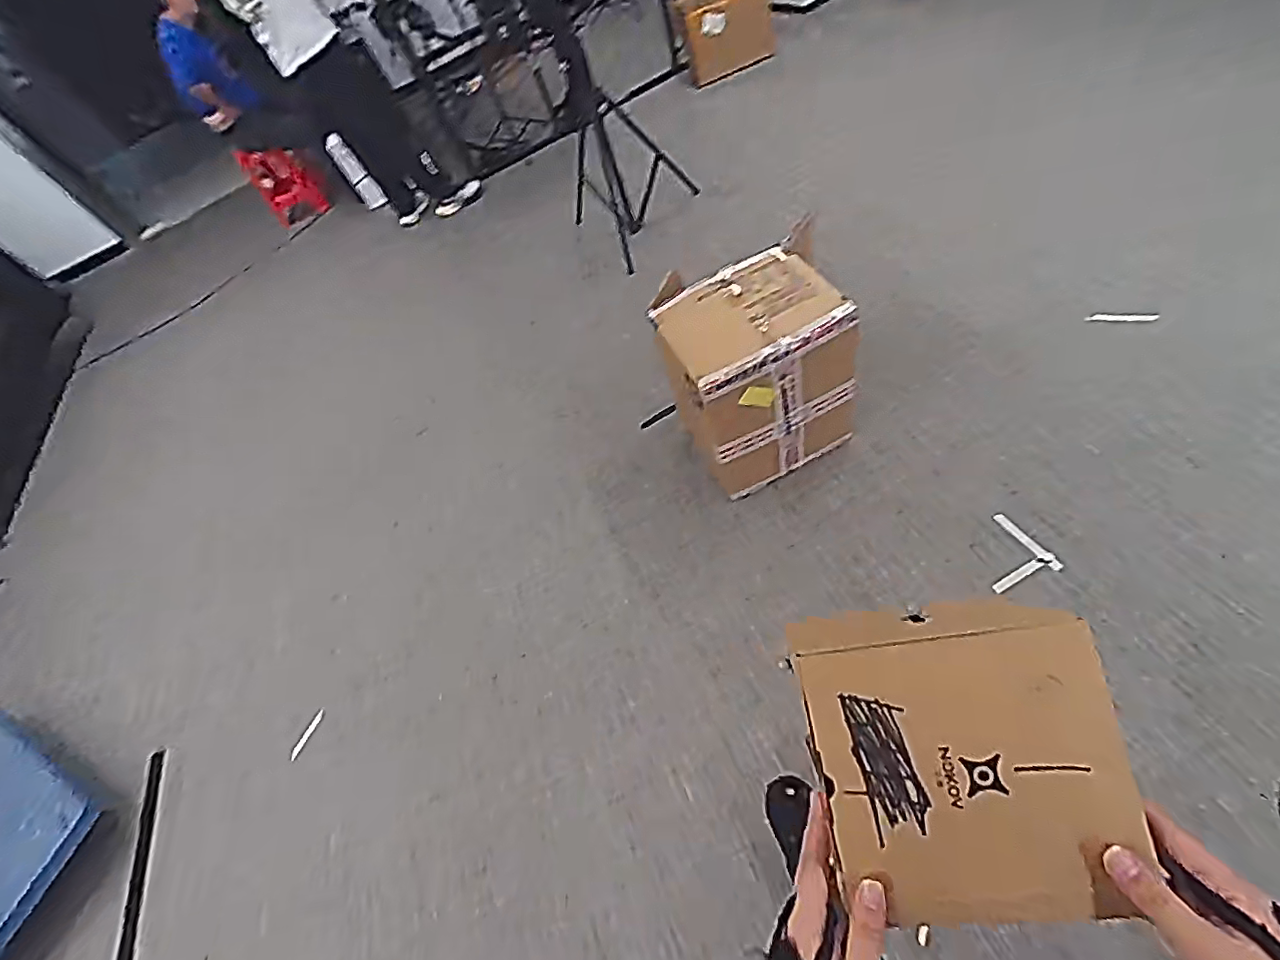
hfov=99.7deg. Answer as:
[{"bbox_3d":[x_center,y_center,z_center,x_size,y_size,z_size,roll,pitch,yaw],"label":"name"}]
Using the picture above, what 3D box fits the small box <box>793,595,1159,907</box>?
[{"bbox_3d":[0.218,0.185,0.414,0.179,0.176,0.168,-11,80,11],"label":"small box"}]
